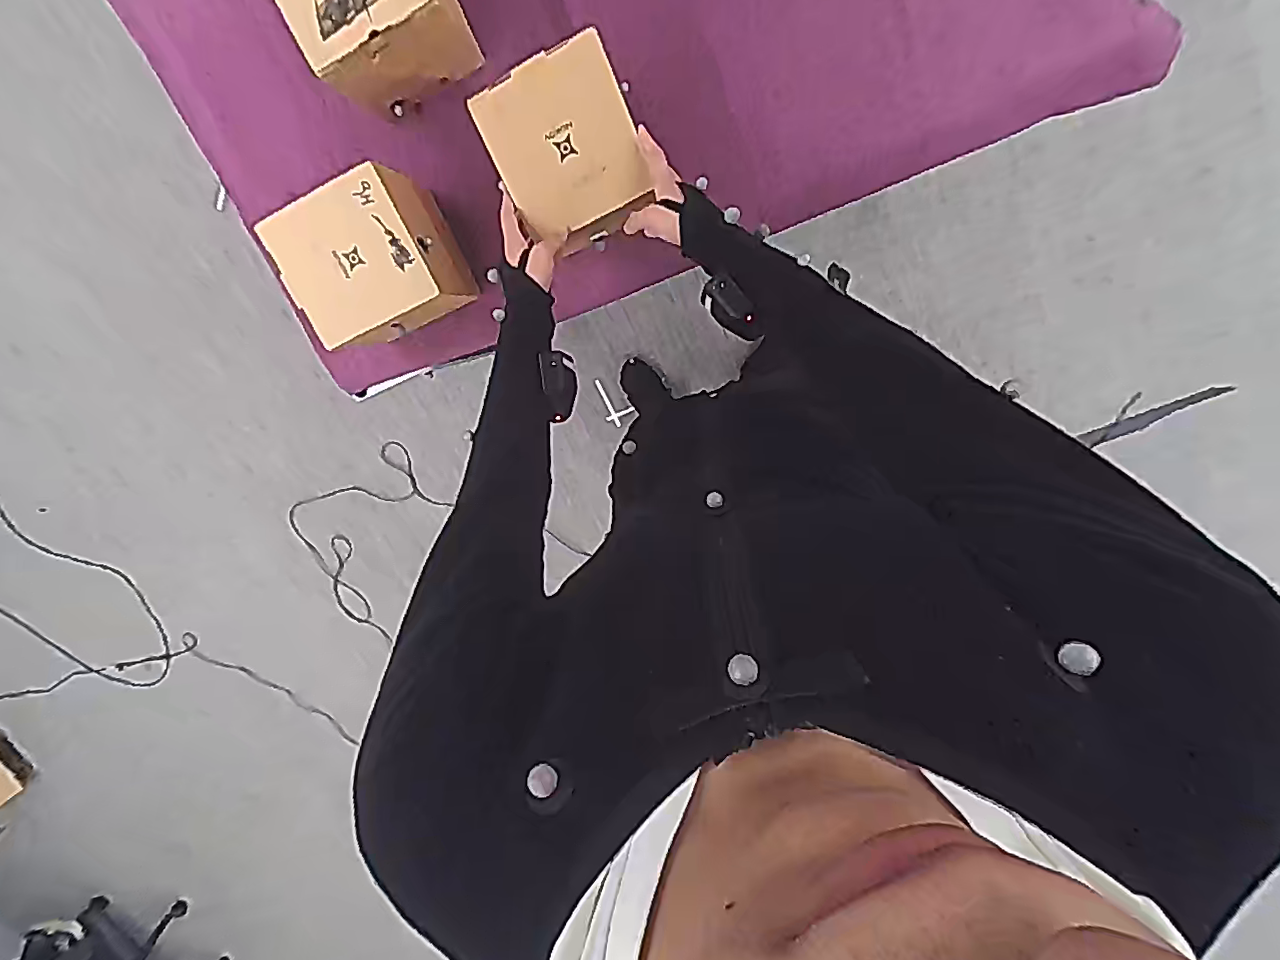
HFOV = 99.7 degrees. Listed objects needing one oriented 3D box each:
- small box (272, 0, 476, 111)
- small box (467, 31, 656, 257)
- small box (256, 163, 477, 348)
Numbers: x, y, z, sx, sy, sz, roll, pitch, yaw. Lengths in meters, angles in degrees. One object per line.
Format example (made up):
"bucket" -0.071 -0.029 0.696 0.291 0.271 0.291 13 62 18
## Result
"small box" -0.327 -0.585 0.654 0.168 0.176 0.179 -23 105 9
"small box" -0.088 -0.410 0.698 0.168 0.176 0.179 -23 107 10
"small box" -0.358 -0.295 0.744 0.179 0.176 0.168 -22 106 10
